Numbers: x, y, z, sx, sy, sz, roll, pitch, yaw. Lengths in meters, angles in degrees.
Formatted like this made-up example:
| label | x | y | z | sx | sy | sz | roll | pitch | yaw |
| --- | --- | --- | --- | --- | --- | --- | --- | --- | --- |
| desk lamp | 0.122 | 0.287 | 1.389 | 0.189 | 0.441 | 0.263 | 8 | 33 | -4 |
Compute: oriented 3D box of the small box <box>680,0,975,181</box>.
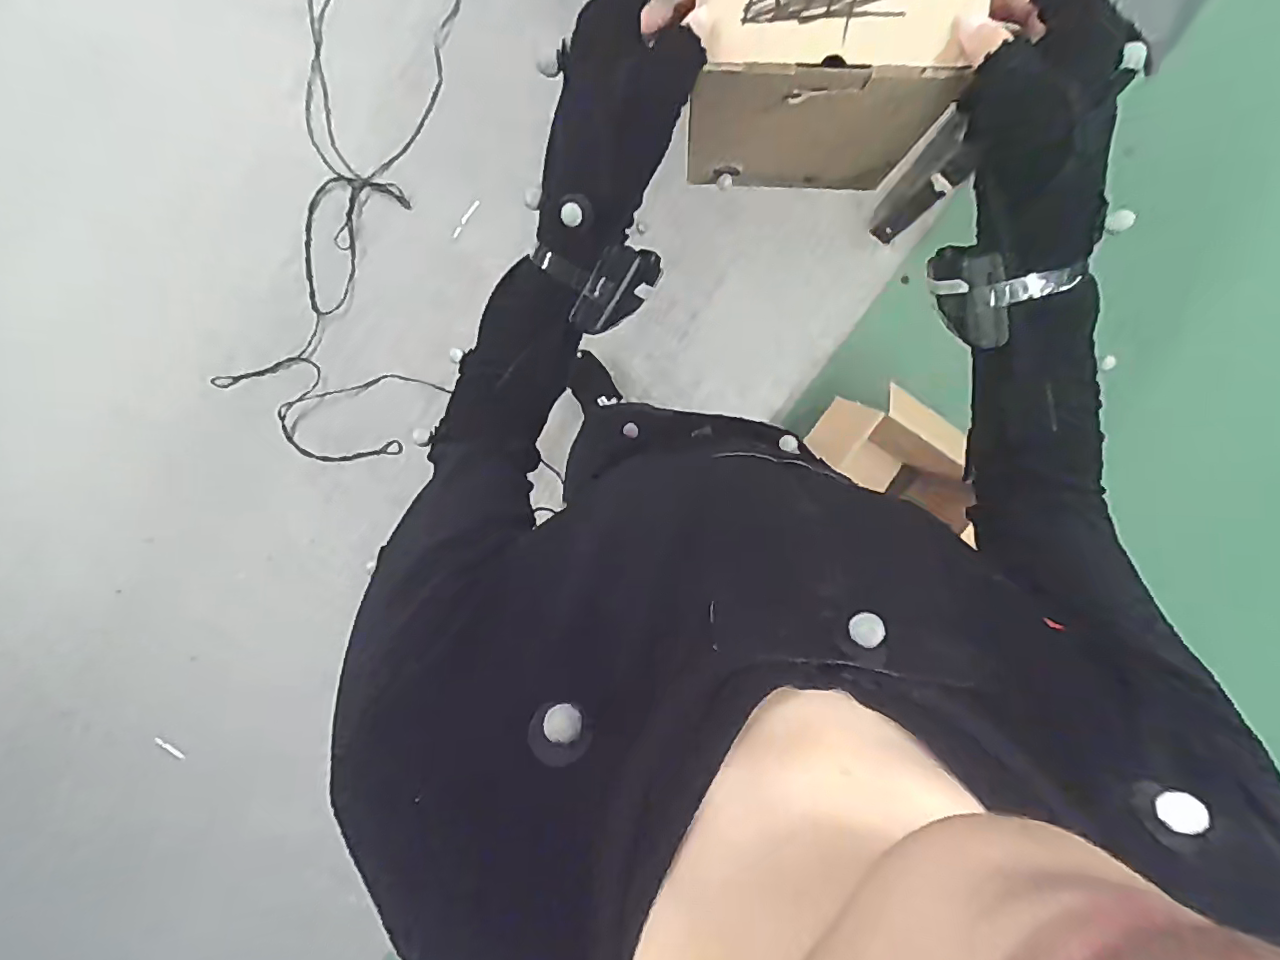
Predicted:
| label | x | y | z | sx | sy | sz | roll | pitch | yaw |
| --- | --- | --- | --- | --- | --- | --- | --- | --- | --- |
| small box | 0.116 | -0.334 | 0.382 | 0.168 | 0.176 | 0.179 | 3 | 97 | 3 |
